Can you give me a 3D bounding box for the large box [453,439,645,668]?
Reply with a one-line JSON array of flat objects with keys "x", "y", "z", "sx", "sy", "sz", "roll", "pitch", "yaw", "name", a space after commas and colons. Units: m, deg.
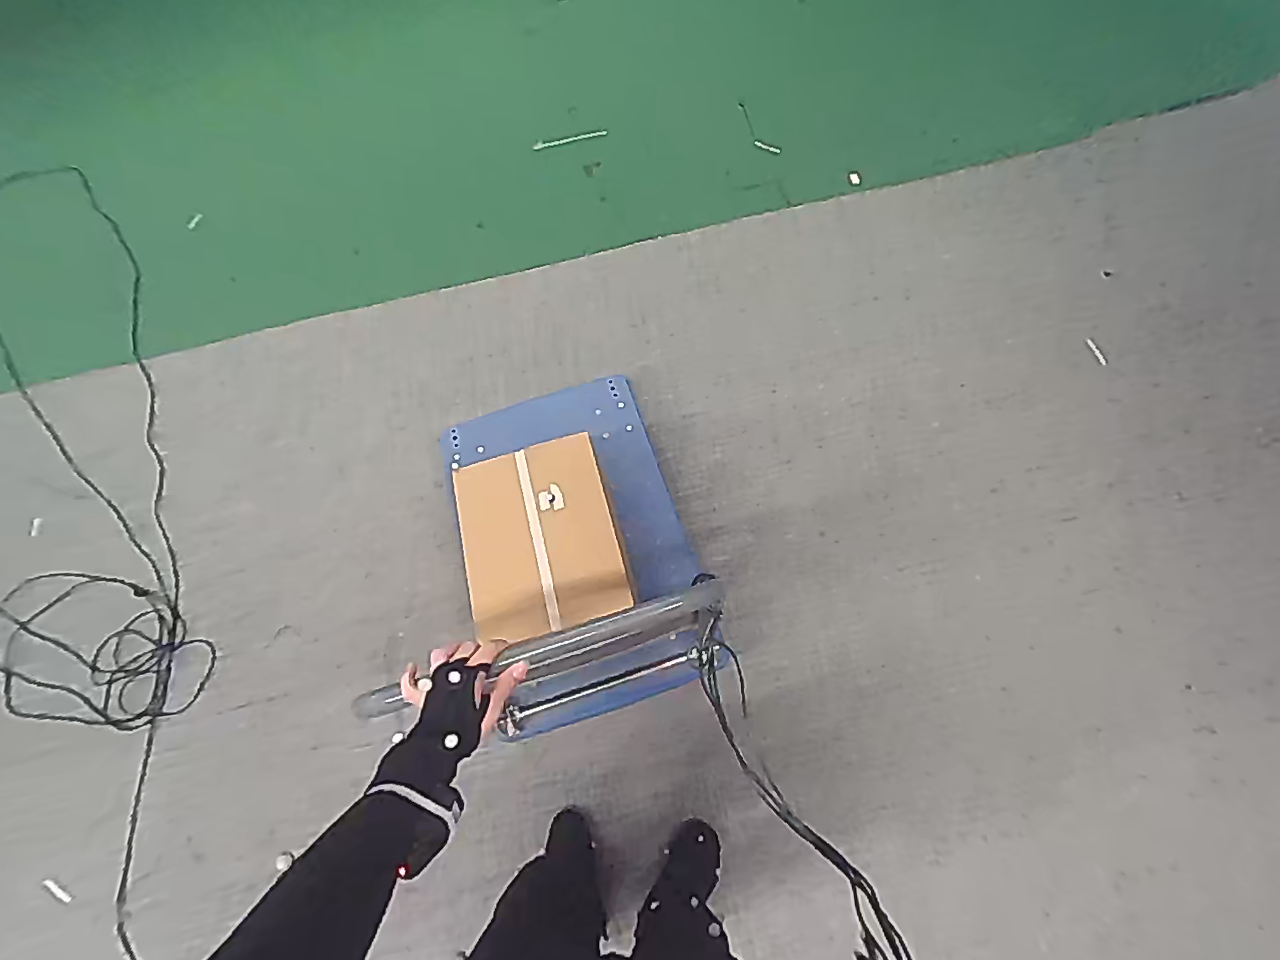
[{"x": -0.199, "y": 0.181, "z": 1.253, "sx": 0.320, "sy": 0.320, "sz": 0.408, "roll": -16, "pitch": 66, "yaw": -2, "name": "large box"}]
